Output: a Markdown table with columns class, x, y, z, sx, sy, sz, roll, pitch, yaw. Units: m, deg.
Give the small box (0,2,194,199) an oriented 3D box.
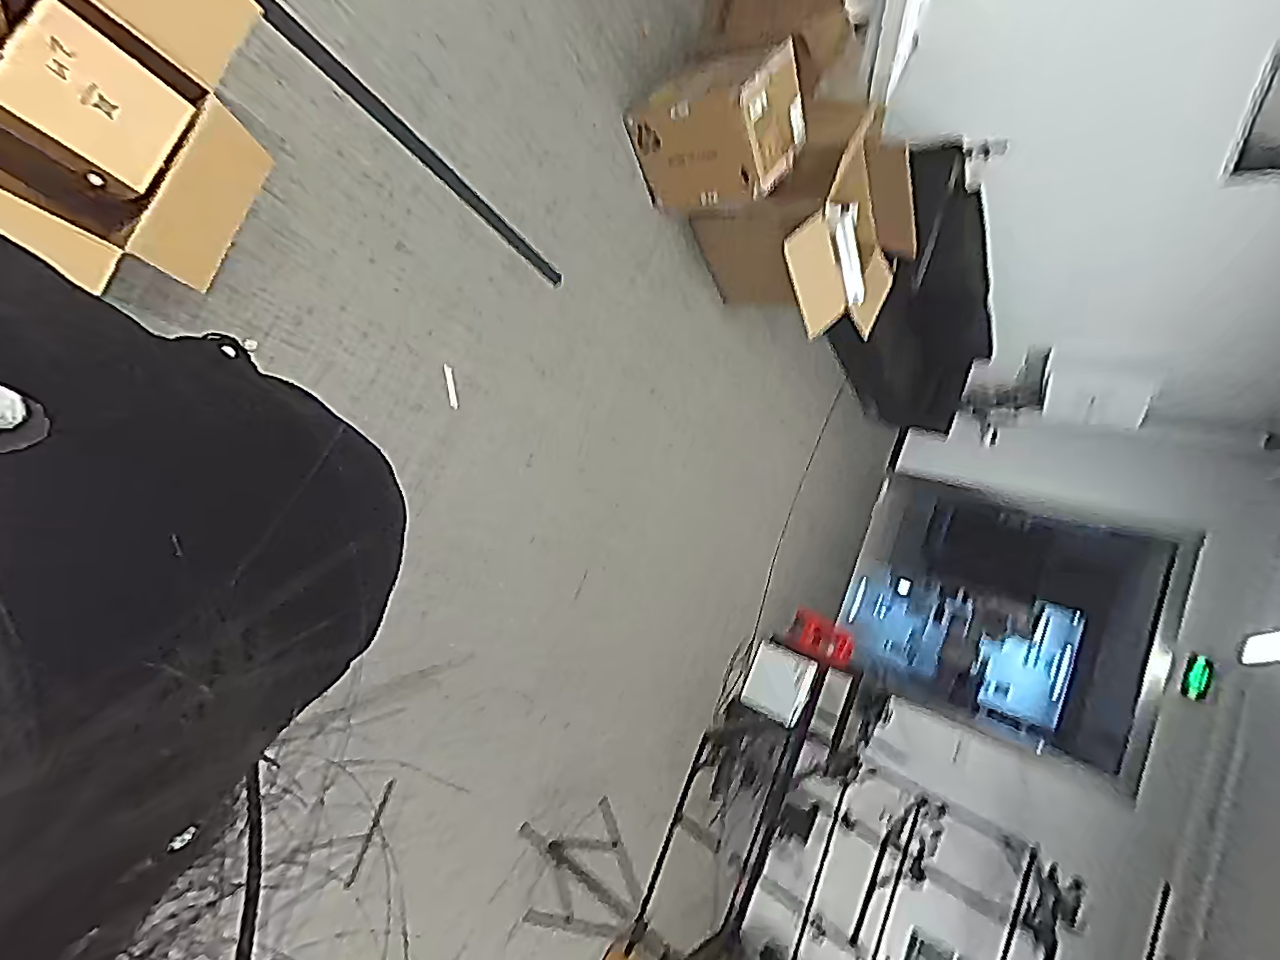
| class | x | y | z | sx | sy | sz | roll | pitch | yaw |
| --- | --- | --- | --- | --- | --- | --- | --- | --- | --- |
| small box | -0.838 | -0.554 | 0.819 | 0.179 | 0.176 | 0.168 | 35 | 74 | -52 |
